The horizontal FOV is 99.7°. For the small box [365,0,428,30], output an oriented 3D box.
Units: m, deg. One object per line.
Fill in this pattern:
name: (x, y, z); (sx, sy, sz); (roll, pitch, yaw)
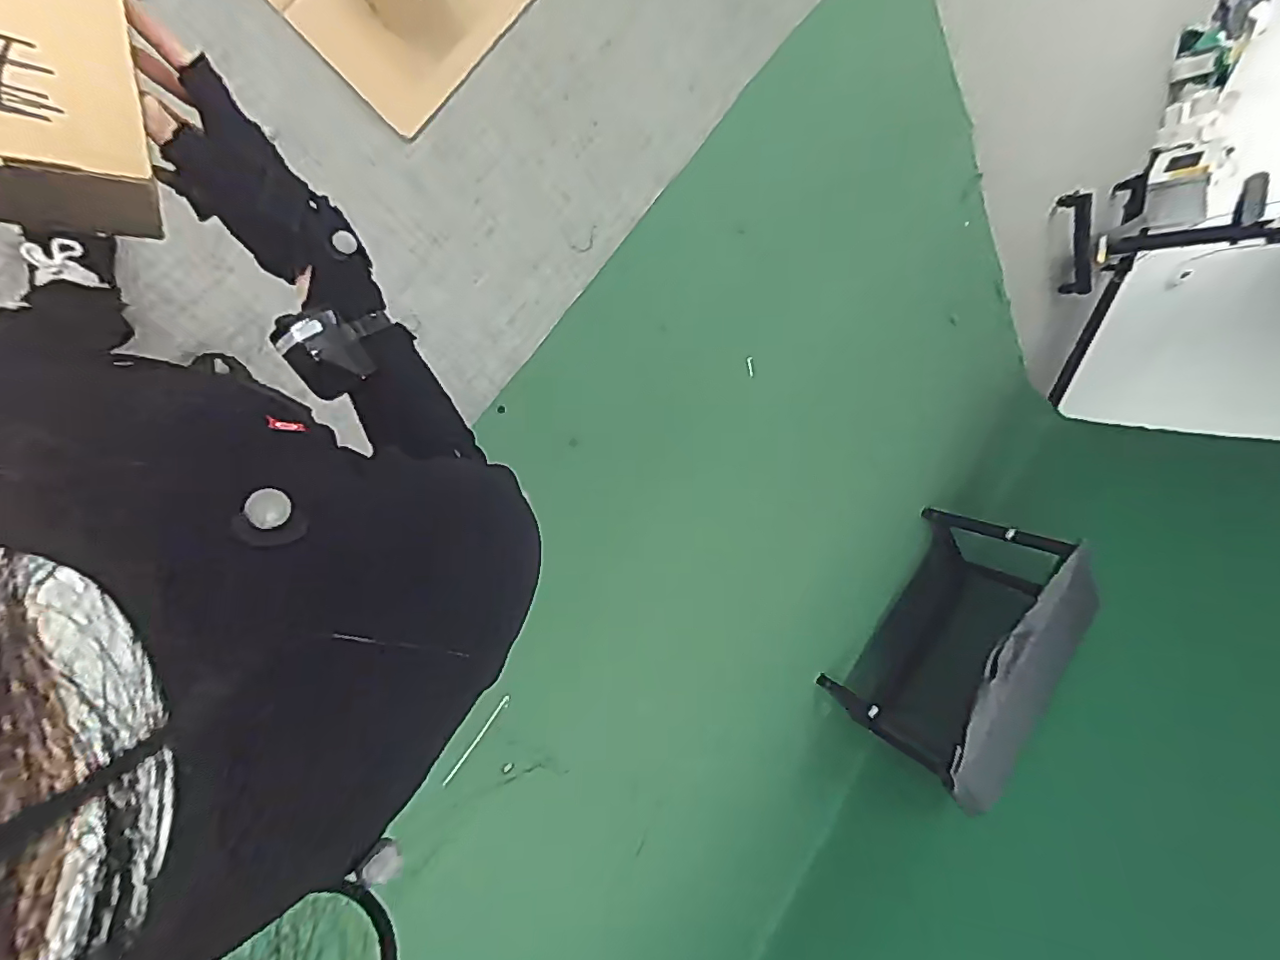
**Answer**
small box: (-0.504, -1.091, 1.108); (0.168, 0.176, 0.179); (40, 78, -34)
